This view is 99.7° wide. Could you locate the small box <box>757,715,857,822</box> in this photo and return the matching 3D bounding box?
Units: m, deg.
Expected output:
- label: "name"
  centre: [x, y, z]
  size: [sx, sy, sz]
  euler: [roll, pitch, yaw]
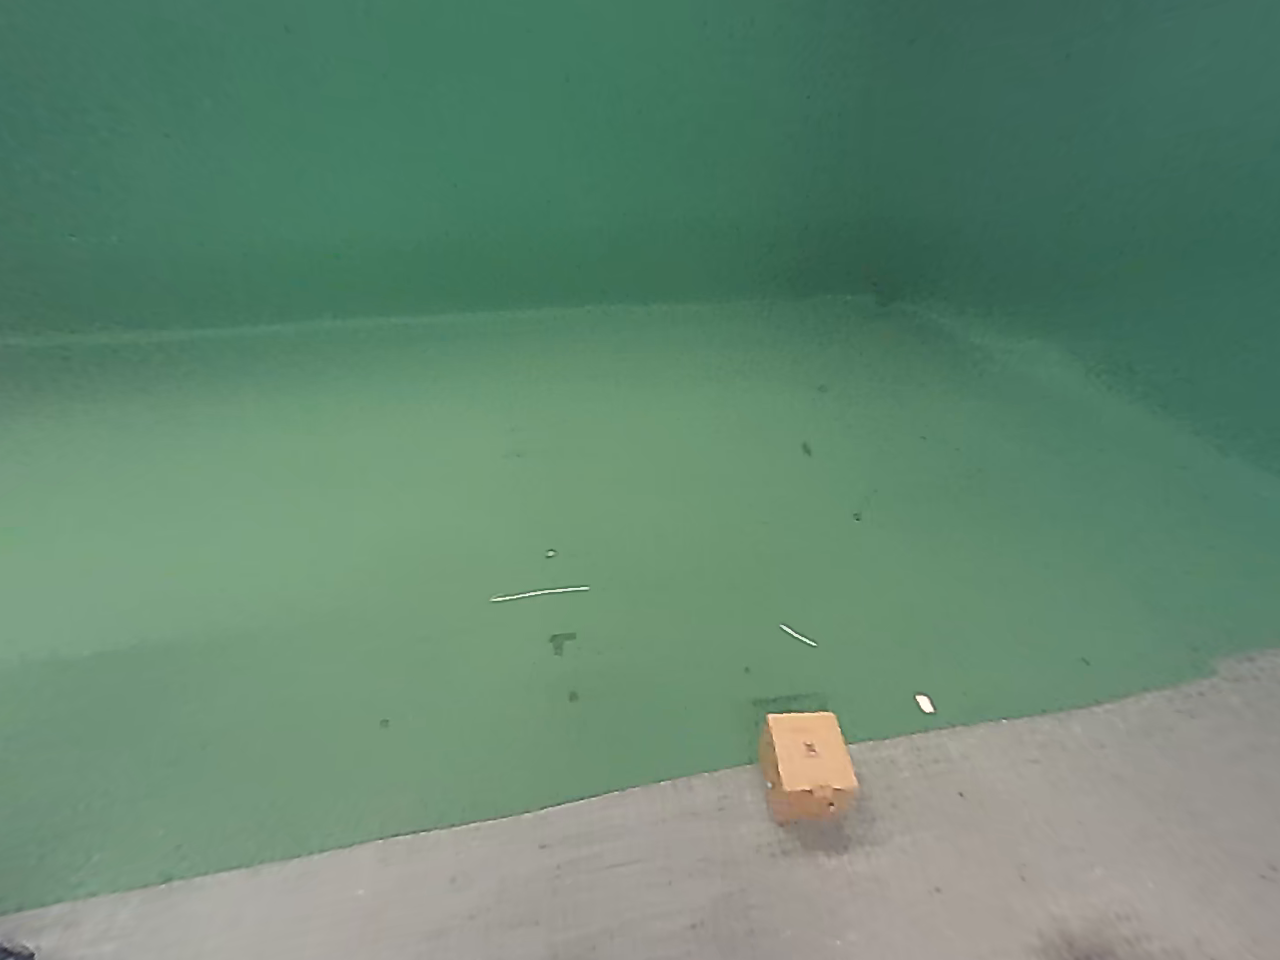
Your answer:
- label: "small box"
  centre: [0.383, 0.682, 1.272]
  size: [0.168, 0.176, 0.179]
  euler: [0, 37, -4]
